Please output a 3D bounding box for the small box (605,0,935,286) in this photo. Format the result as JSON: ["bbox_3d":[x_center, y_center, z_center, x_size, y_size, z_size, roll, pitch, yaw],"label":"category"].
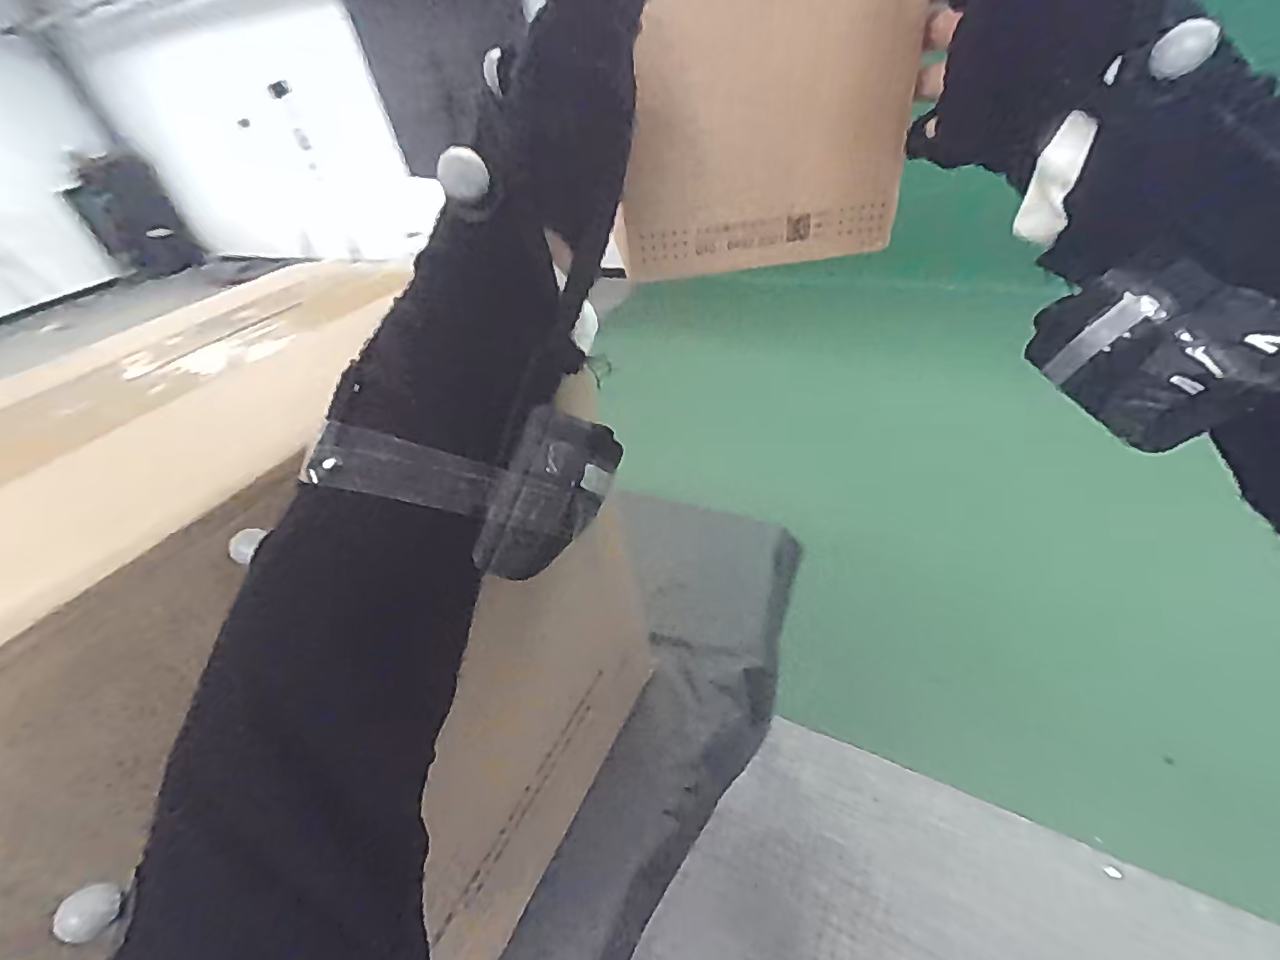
[{"bbox_3d":[0.068,-0.243,0.372,0.168,0.176,0.179,-8,34,-1],"label":"small box"}]
